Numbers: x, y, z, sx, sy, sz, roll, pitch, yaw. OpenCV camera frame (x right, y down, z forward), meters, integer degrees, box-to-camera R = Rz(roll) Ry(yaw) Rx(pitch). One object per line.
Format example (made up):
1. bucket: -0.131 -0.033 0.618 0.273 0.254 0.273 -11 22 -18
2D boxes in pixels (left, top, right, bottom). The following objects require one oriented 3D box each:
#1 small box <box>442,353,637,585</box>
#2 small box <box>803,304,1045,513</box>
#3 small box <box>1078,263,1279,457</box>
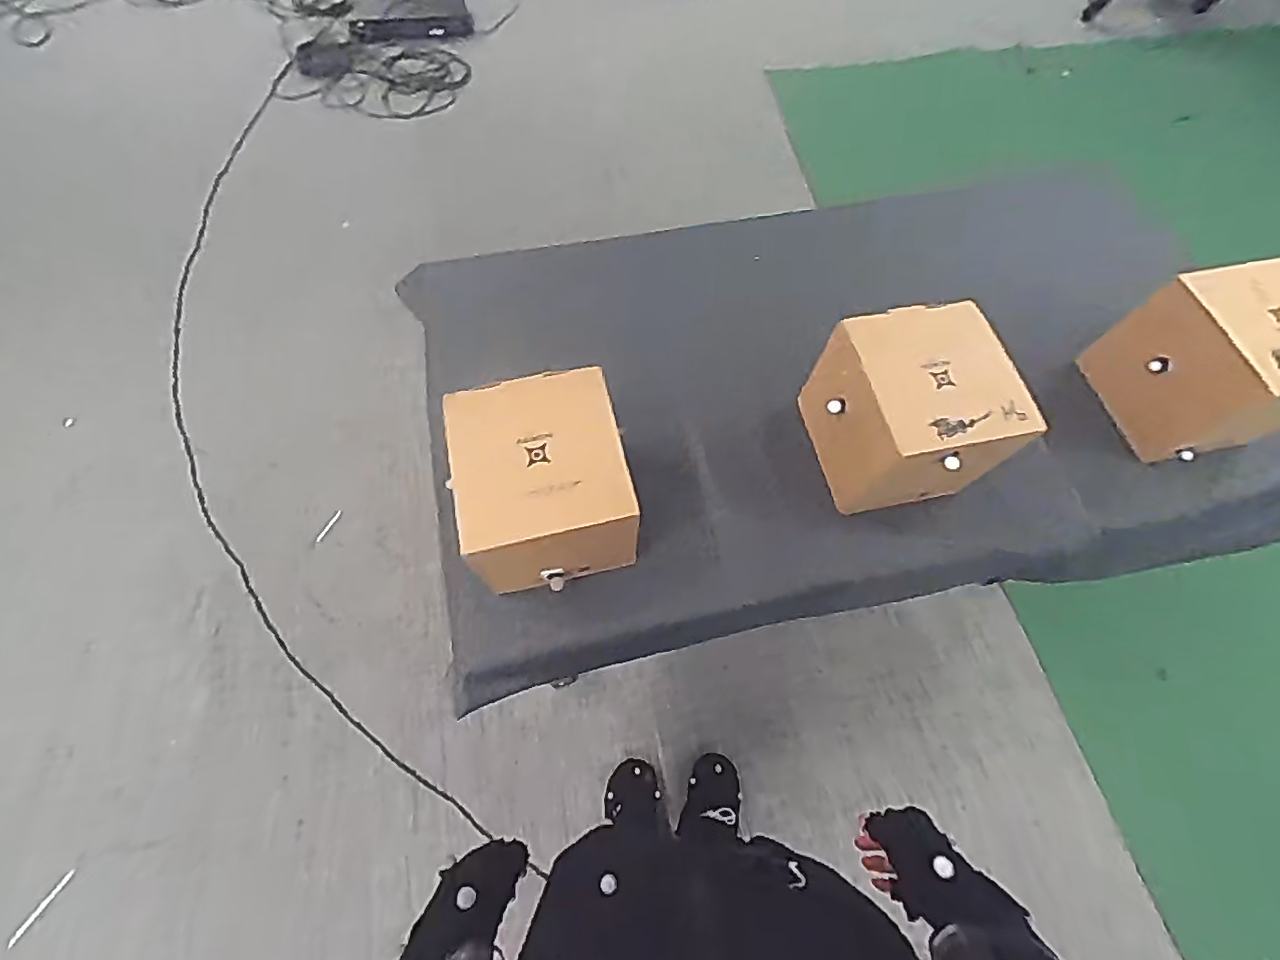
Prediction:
1. small box: -0.101 -0.005 0.576 0.168 0.176 0.179 -11 66 -5
2. small box: 0.316 -0.080 0.649 0.168 0.176 0.179 -10 66 -6
3. small box: 0.730 -0.142 0.691 0.168 0.176 0.179 -10 66 -6
